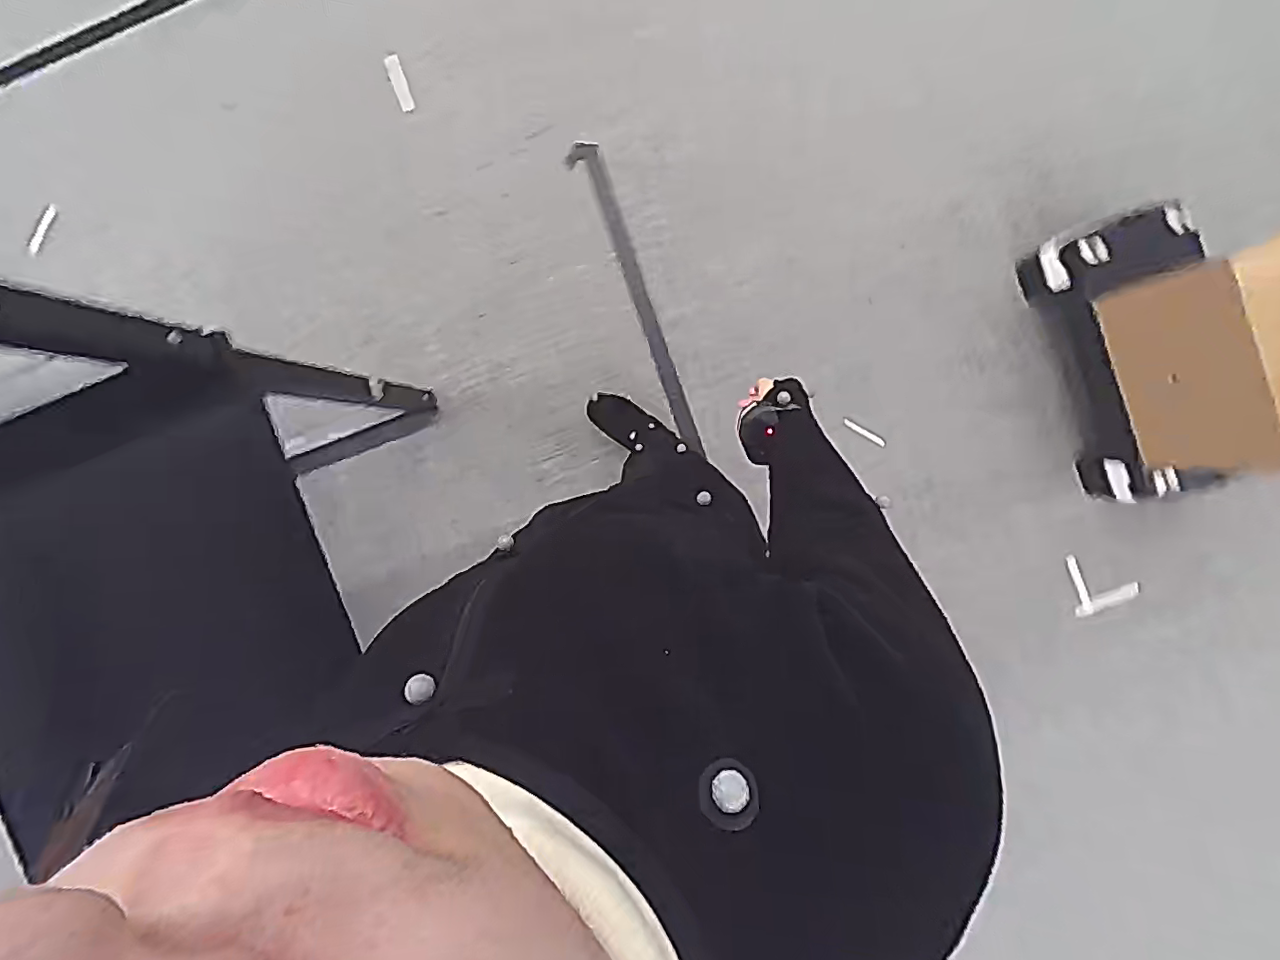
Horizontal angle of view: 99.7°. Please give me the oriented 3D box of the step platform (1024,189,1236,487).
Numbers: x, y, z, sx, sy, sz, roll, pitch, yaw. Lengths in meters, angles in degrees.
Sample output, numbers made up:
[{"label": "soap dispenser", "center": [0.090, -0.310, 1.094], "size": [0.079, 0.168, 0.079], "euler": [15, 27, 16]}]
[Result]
[{"label": "step platform", "center": [1.205, -0.329, 1.320], "size": [0.286, 0.204, 0.684], "euler": [-15, 91, 3]}]

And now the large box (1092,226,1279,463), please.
[{"label": "large box", "center": [1.231, -0.272, 1.083], "size": [0.320, 0.320, 0.408], "euler": [-21, 91, 3]}]
